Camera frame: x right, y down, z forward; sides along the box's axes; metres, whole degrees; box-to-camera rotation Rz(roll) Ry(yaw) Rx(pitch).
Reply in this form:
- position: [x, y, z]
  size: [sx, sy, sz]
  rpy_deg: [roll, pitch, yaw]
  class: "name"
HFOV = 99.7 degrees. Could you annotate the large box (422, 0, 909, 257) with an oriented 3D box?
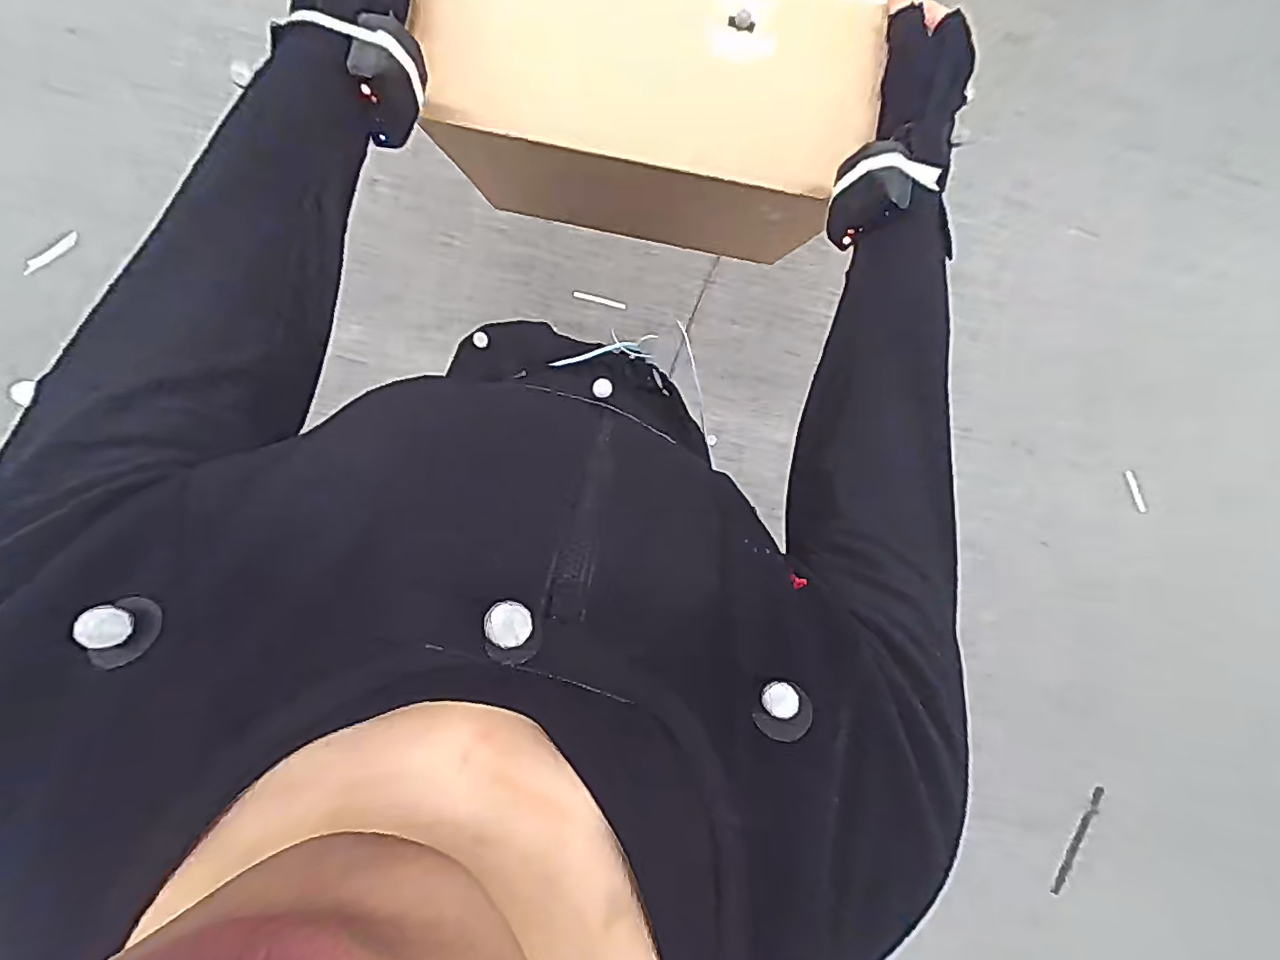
- position: [0.026, -0.464, 0.589]
  size: [0.408, 0.320, 0.320]
  rpy_deg: [10, 103, -4]
  class: "large box"
